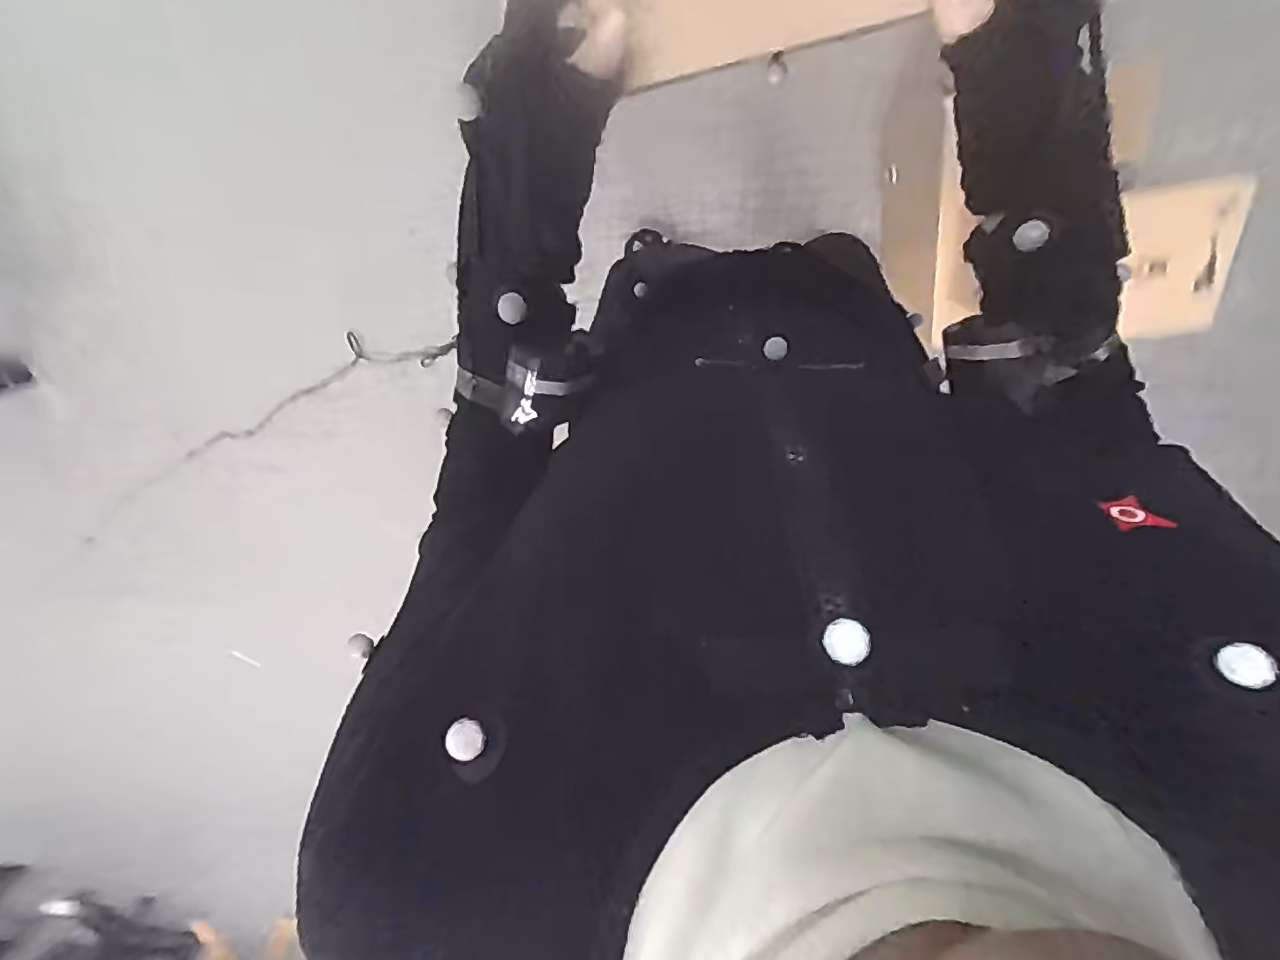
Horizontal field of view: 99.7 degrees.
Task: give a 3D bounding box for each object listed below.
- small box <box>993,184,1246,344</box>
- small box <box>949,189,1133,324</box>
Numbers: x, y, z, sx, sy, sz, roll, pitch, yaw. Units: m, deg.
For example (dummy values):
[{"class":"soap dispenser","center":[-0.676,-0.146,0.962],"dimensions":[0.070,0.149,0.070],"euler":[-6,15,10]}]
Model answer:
[{"class":"small box","center":[0.606,-0.286,0.717],"dimensions":[0.179,0.176,0.168],"euler":[-4,116,8]},{"class":"small box","center":[0.620,-0.359,0.863],"dimensions":[0.168,0.176,0.179],"euler":[-2,116,7]}]
